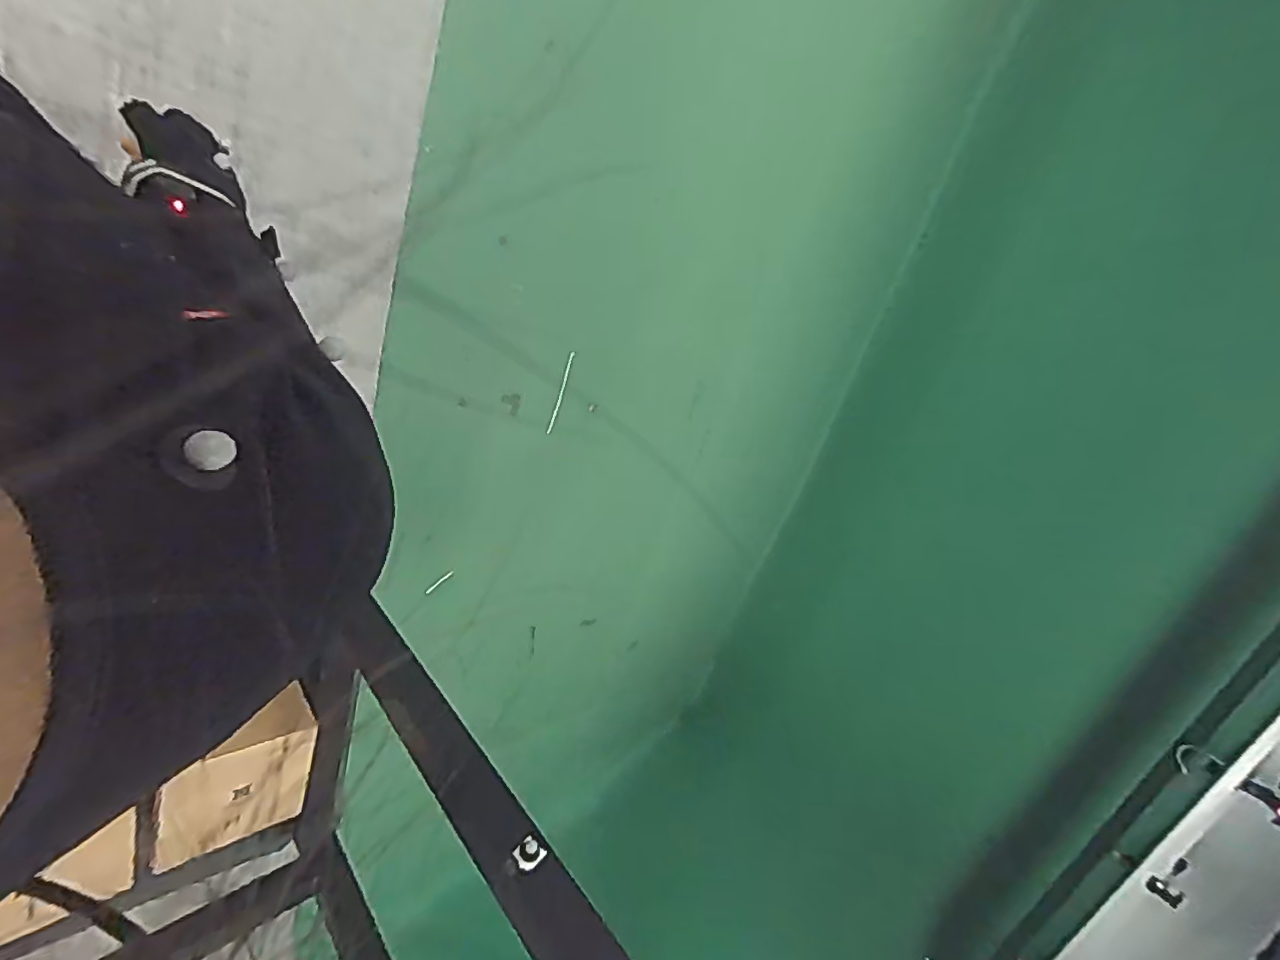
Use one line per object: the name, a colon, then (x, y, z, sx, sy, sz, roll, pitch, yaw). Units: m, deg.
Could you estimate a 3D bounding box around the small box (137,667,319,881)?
small box: (-0.576, 0.386, 0.752, 0.168, 0.176, 0.179, 0, 117, -49)
